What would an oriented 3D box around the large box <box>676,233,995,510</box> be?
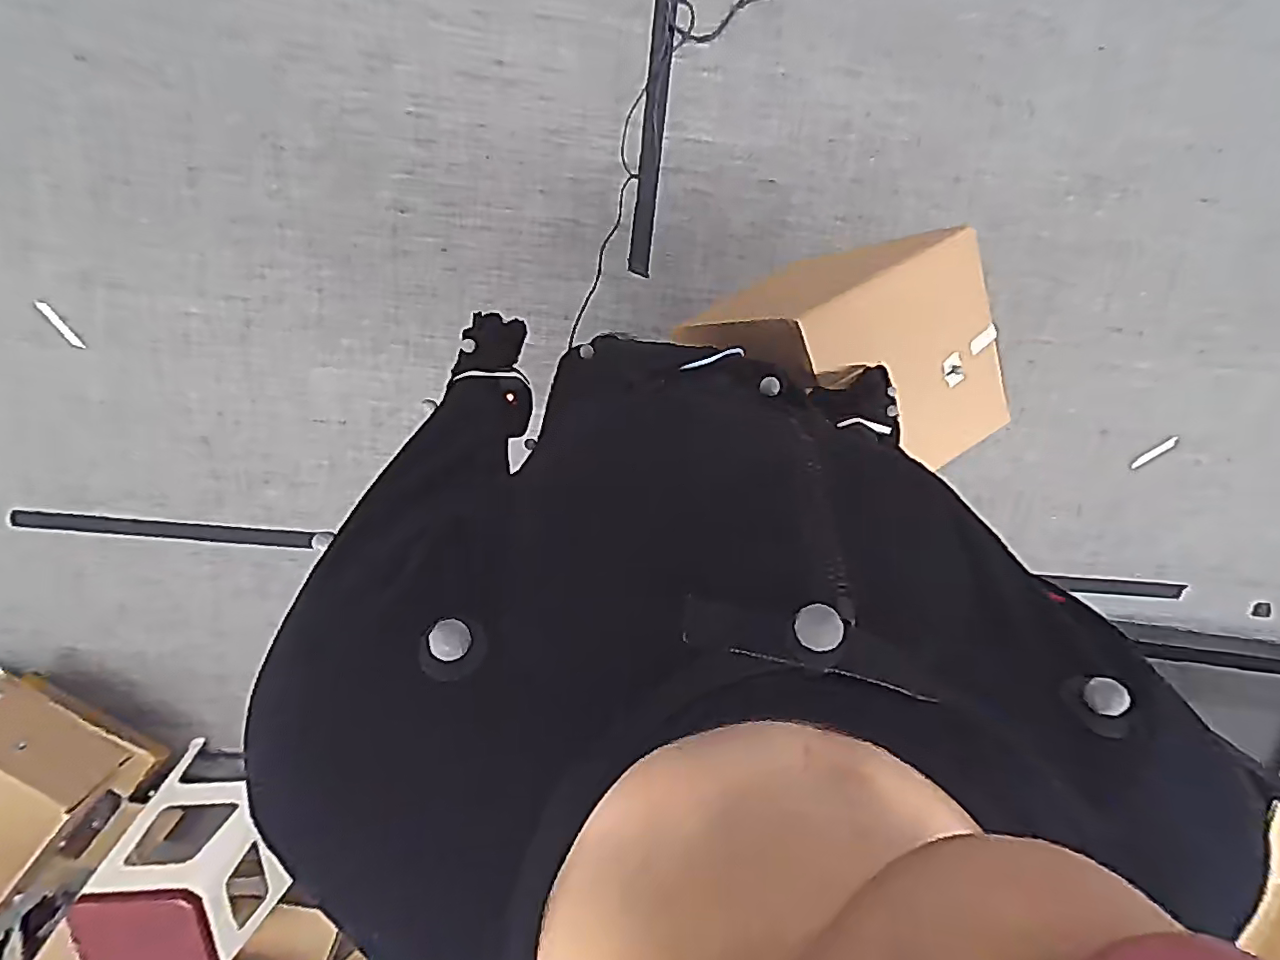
[{"bbox_3d":[0.320,-0.196,0.962,0.320,0.408,0.320,-28,112,-11],"label":"large box"}]
